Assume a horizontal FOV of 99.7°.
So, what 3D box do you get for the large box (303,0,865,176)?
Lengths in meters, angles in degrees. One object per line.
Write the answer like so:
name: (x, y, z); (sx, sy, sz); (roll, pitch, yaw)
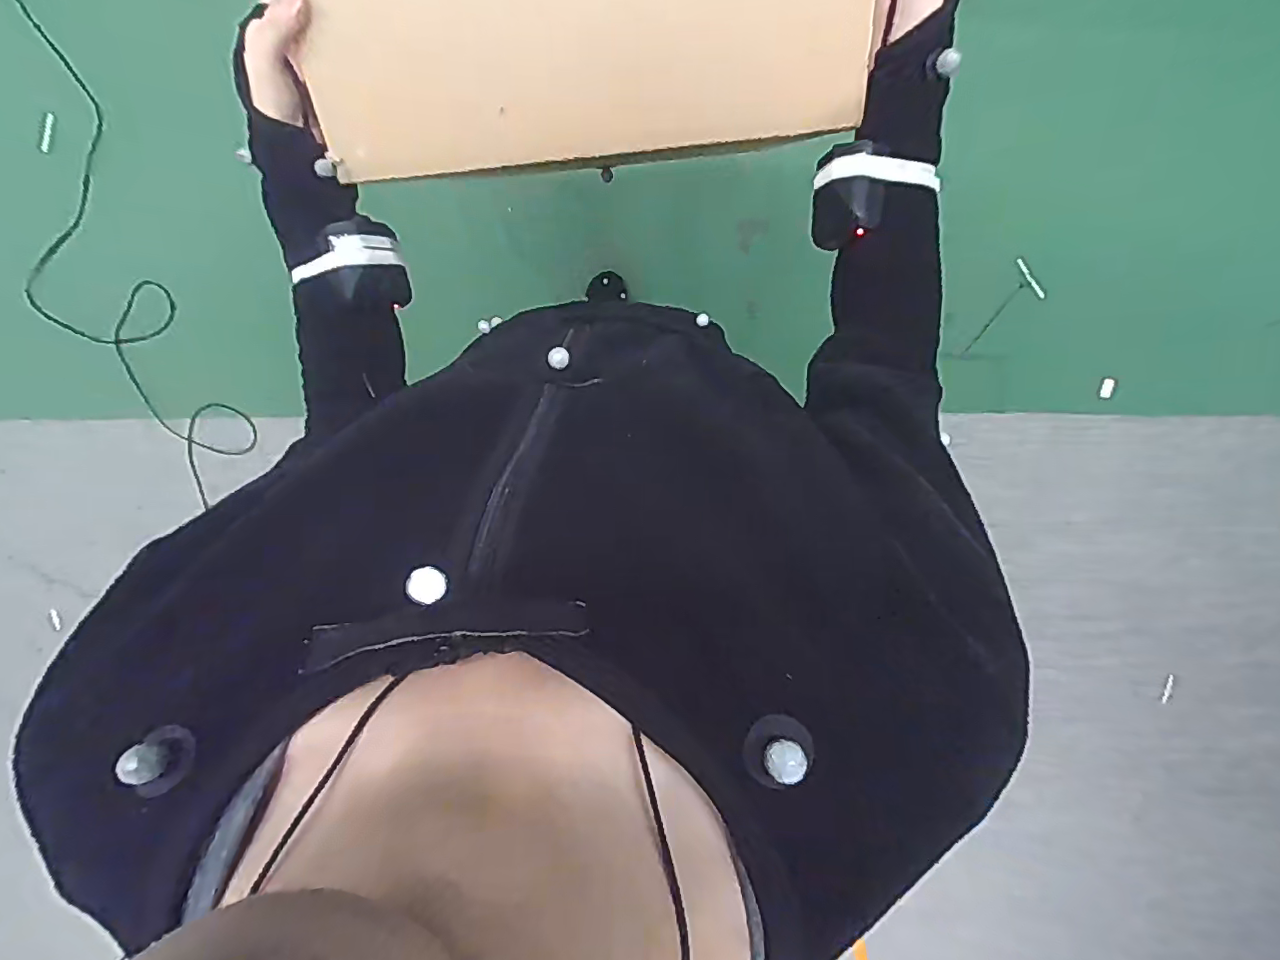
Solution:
large box: (-0.044, -0.471, 0.481); (0.408, 0.320, 0.320); (-5, 119, 3)
